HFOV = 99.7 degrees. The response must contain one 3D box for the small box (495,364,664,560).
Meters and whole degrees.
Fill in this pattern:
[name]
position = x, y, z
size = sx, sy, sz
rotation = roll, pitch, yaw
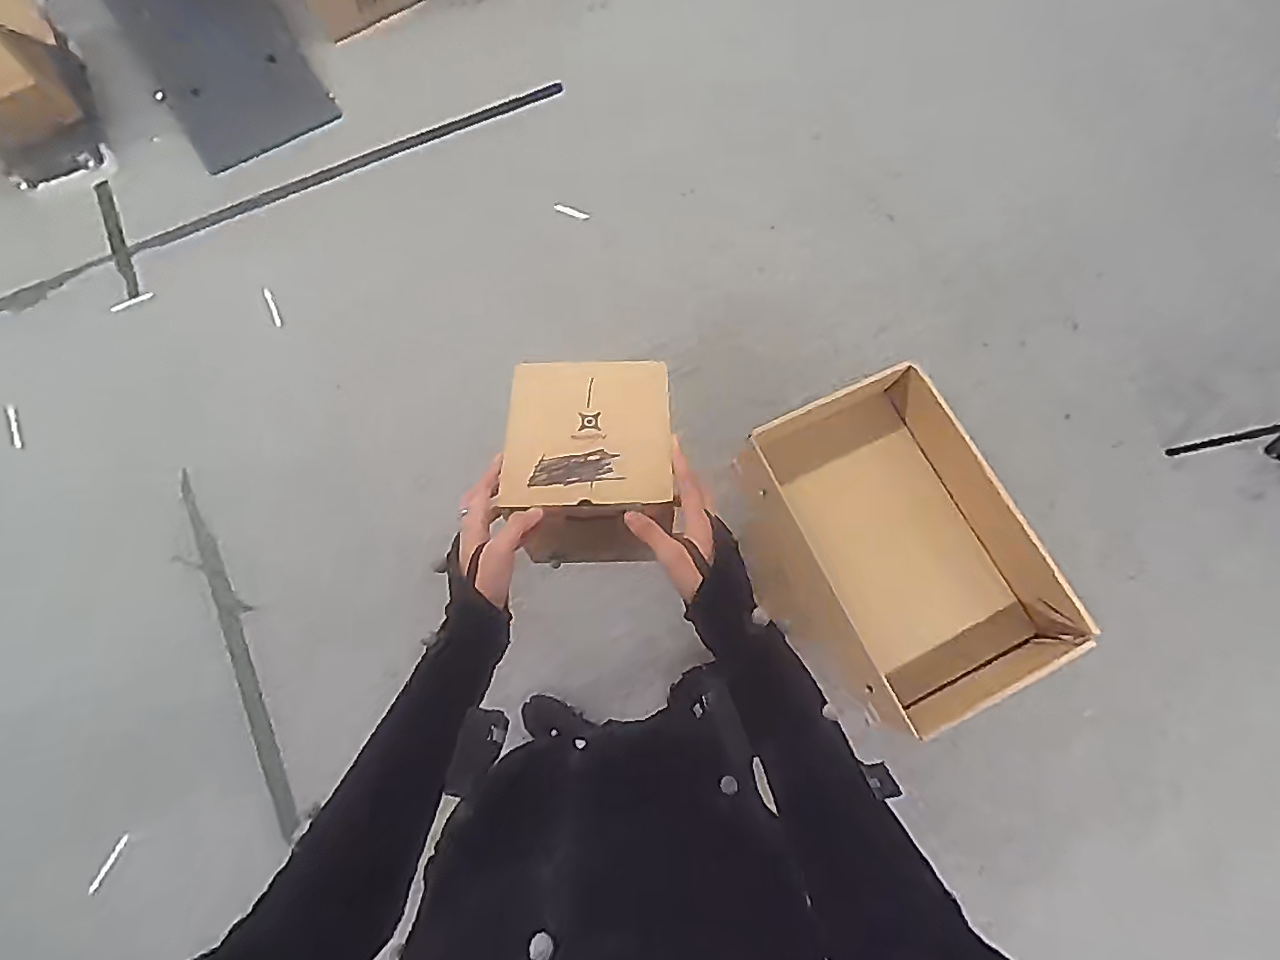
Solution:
[small box]
position = -0.057, -0.010, 0.617
size = 0.168, 0.176, 0.179
rotation = -2, 65, 0
